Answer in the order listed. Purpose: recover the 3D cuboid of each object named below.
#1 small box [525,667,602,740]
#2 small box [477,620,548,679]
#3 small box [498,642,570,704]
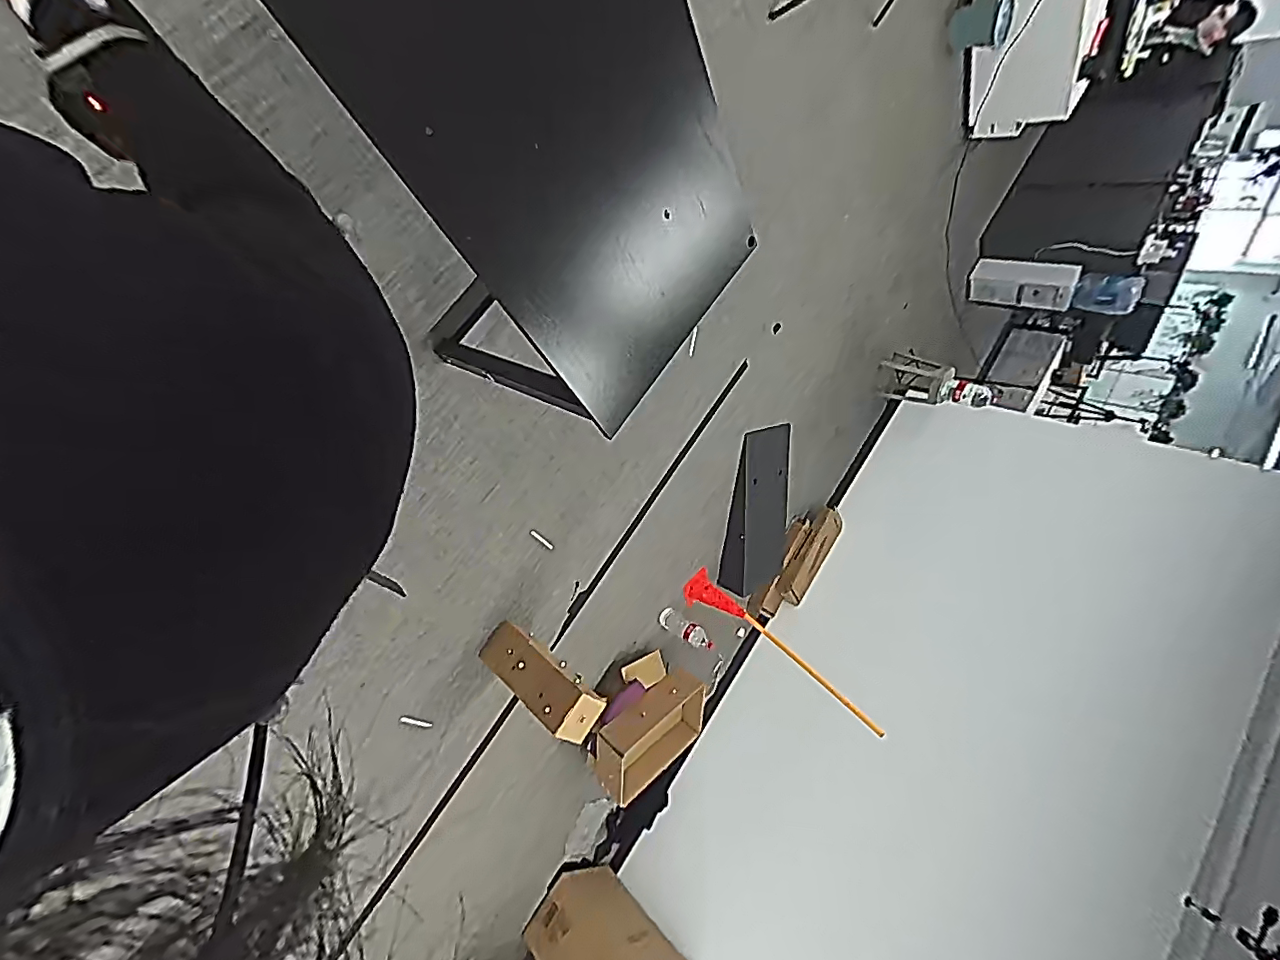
[{"bbox_3d":[-0.273,0.788,1.916,0.168,0.176,0.179,-54,141,-12],"label":"small box"},{"bbox_3d":[-0.503,0.678,2.120,0.179,0.176,0.168,-54,140,-13],"label":"small box"},{"bbox_3d":[-0.389,0.731,2.014,0.168,0.176,0.179,-55,140,-14],"label":"small box"}]
